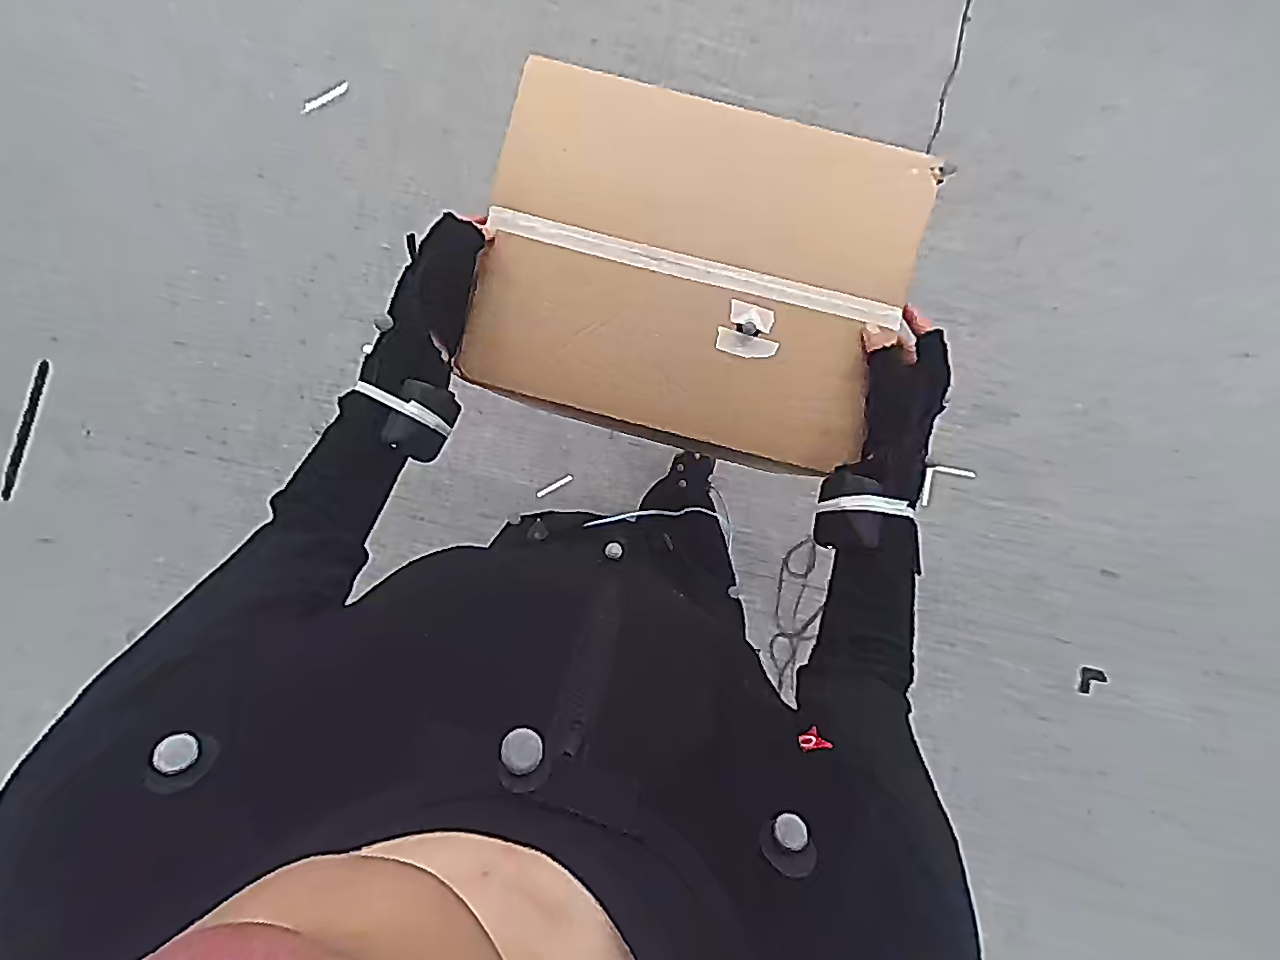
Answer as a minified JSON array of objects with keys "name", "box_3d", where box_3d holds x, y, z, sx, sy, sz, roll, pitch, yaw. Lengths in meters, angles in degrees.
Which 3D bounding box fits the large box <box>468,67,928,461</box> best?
[{"name":"large box","box_3d":[0.055,-0.218,0.682,0.408,0.320,0.320,15,93,0]}]
